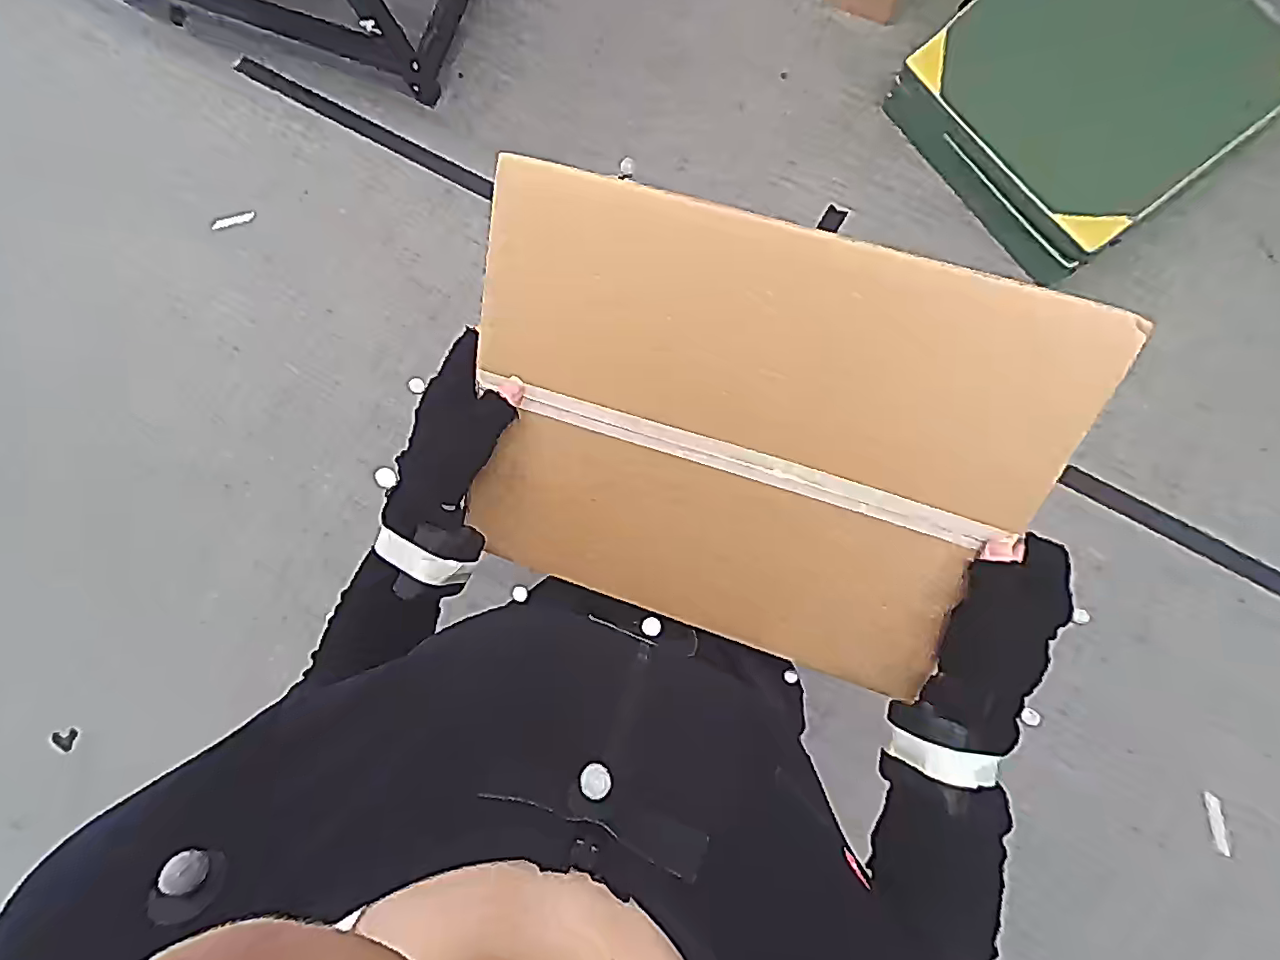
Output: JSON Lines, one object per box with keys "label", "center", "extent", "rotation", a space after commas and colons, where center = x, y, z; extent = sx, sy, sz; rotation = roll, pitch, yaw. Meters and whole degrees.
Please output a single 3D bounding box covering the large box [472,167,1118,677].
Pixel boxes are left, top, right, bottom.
{"label": "large box", "center": [0.098, -0.082, 0.541], "extent": [0.408, 0.320, 0.320], "rotation": [18, 117, 7]}
